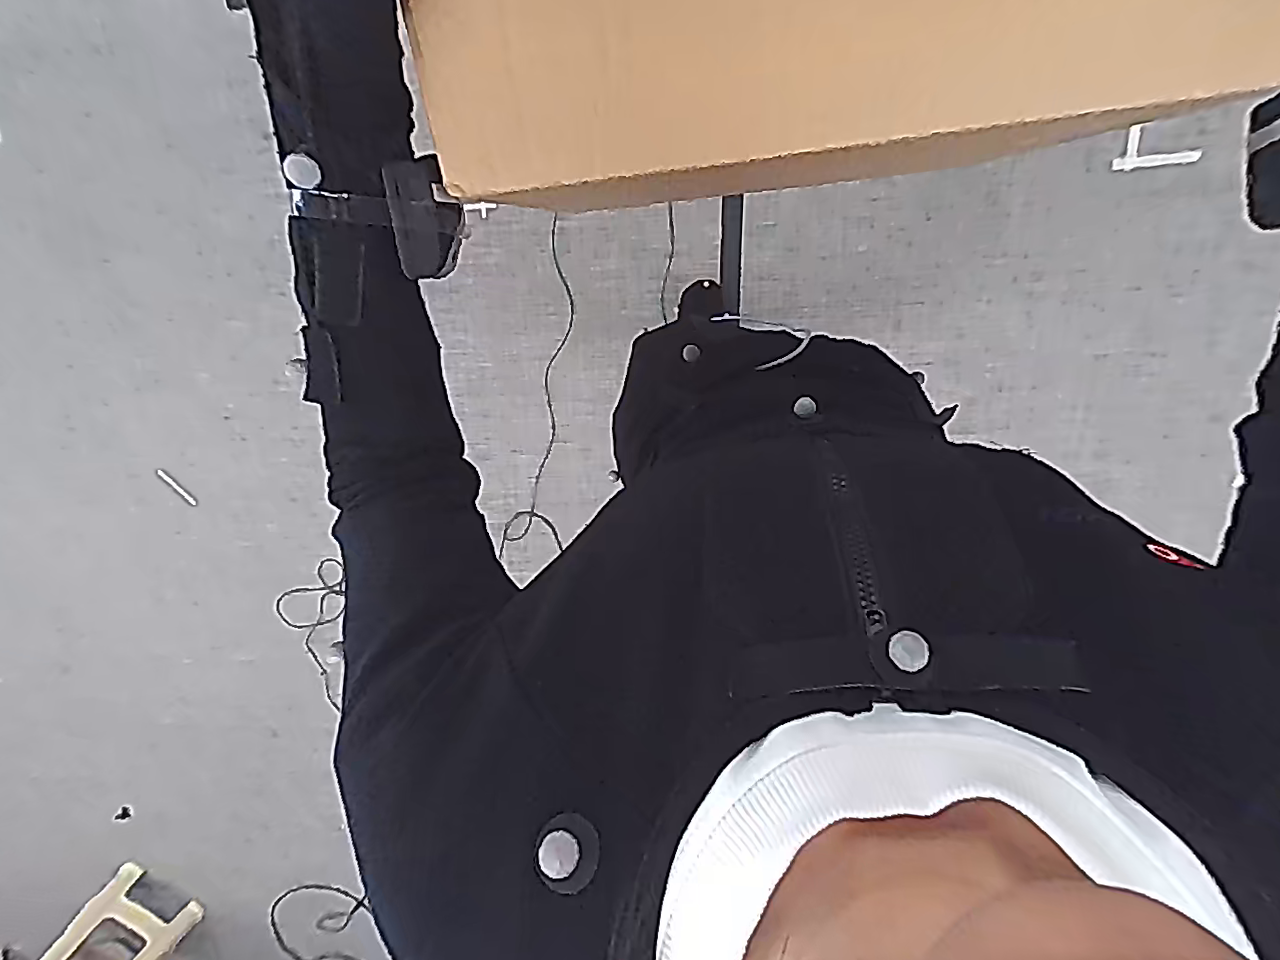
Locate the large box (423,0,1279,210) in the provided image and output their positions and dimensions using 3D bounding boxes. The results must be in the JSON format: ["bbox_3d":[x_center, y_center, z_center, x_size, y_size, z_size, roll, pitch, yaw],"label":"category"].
[{"bbox_3d":[0.090,-0.376,0.346,0.408,0.320,0.320,-4,115,6],"label":"large box"}]
